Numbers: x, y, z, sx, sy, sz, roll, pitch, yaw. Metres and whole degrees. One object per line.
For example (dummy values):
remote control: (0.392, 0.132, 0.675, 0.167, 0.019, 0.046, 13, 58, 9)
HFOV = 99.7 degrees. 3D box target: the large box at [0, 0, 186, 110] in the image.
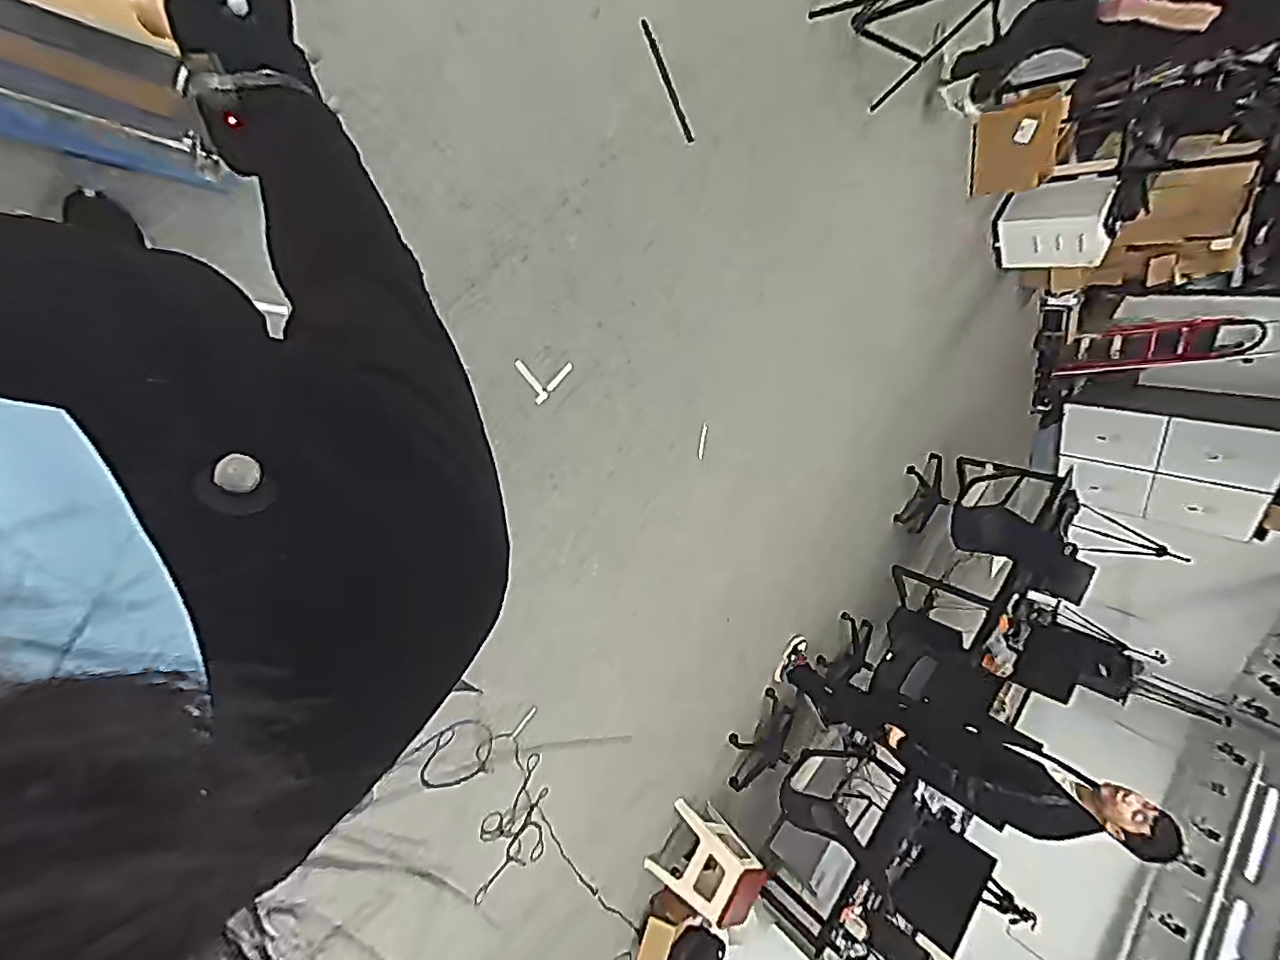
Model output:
large box: (-0.815, -0.720, 0.637, 0.408, 0.320, 0.320, -2, 107, -45)
